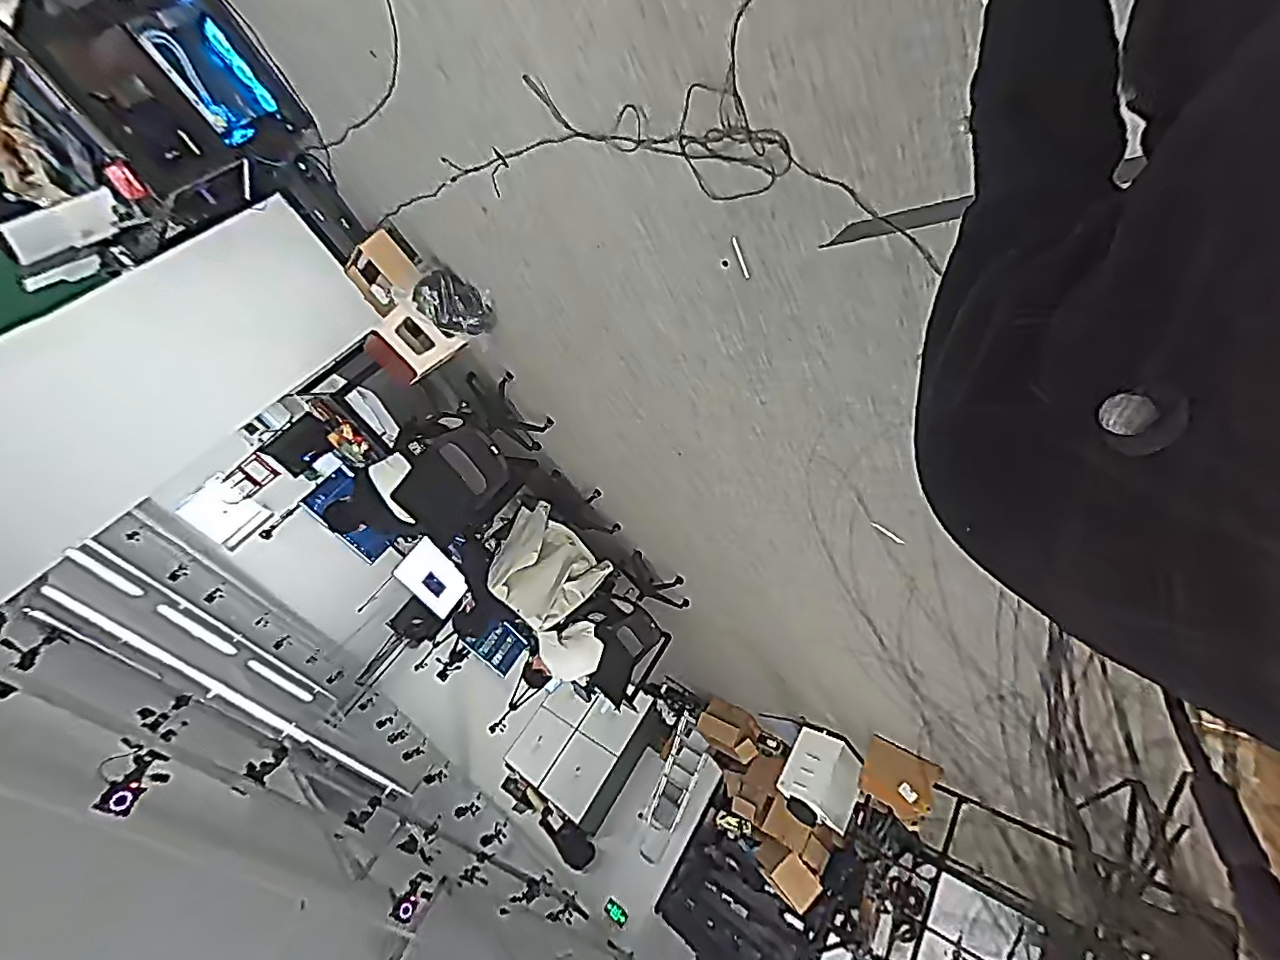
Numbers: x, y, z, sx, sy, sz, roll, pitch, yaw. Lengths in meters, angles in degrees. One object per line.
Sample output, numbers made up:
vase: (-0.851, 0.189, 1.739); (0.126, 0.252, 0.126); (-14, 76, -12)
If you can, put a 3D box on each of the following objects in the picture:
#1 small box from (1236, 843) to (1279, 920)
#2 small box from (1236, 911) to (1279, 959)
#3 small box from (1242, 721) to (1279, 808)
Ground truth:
small box: (1.600, 1.021, 1.315); (0.179, 0.176, 0.168); (10, 142, 42)
small box: (1.512, 1.135, 1.242); (0.179, 0.176, 0.168); (10, 141, 42)
small box: (1.777, 0.788, 1.464); (0.179, 0.176, 0.168); (8, 140, 46)
